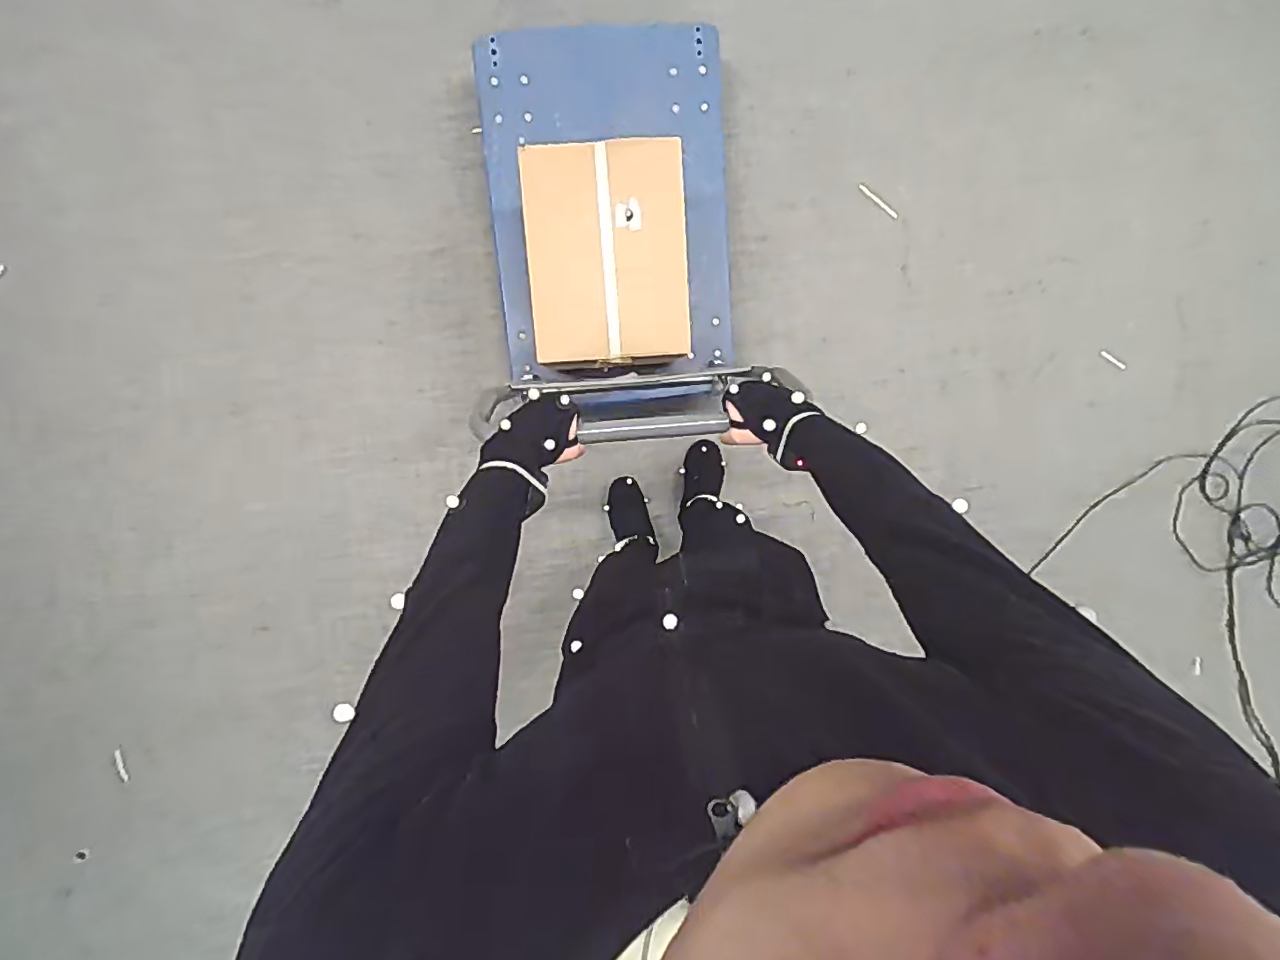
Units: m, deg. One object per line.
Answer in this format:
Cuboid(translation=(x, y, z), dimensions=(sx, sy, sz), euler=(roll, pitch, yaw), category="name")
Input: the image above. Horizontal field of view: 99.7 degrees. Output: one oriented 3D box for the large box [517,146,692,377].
Cuboid(translation=(-0.071, -0.452, 1.206), dimensions=(0.320, 0.320, 0.408), euler=(-5, 98, -3), category="large box")
